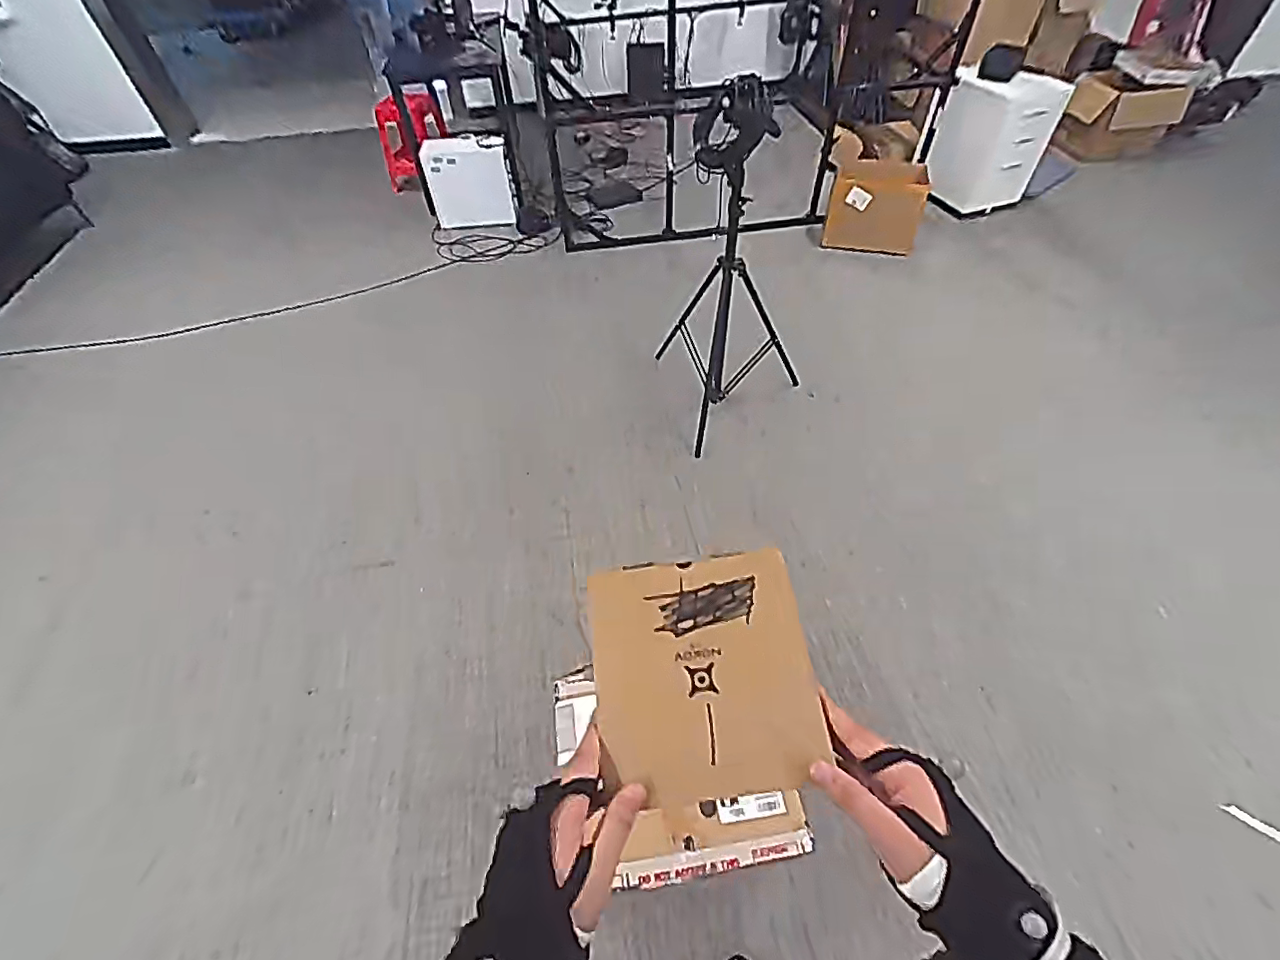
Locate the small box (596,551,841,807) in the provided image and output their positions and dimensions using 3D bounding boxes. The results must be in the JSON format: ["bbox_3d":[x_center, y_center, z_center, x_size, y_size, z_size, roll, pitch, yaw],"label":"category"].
[{"bbox_3d":[0.055,0.182,0.485,0.168,0.176,0.179,-7,61,0],"label":"small box"}]
